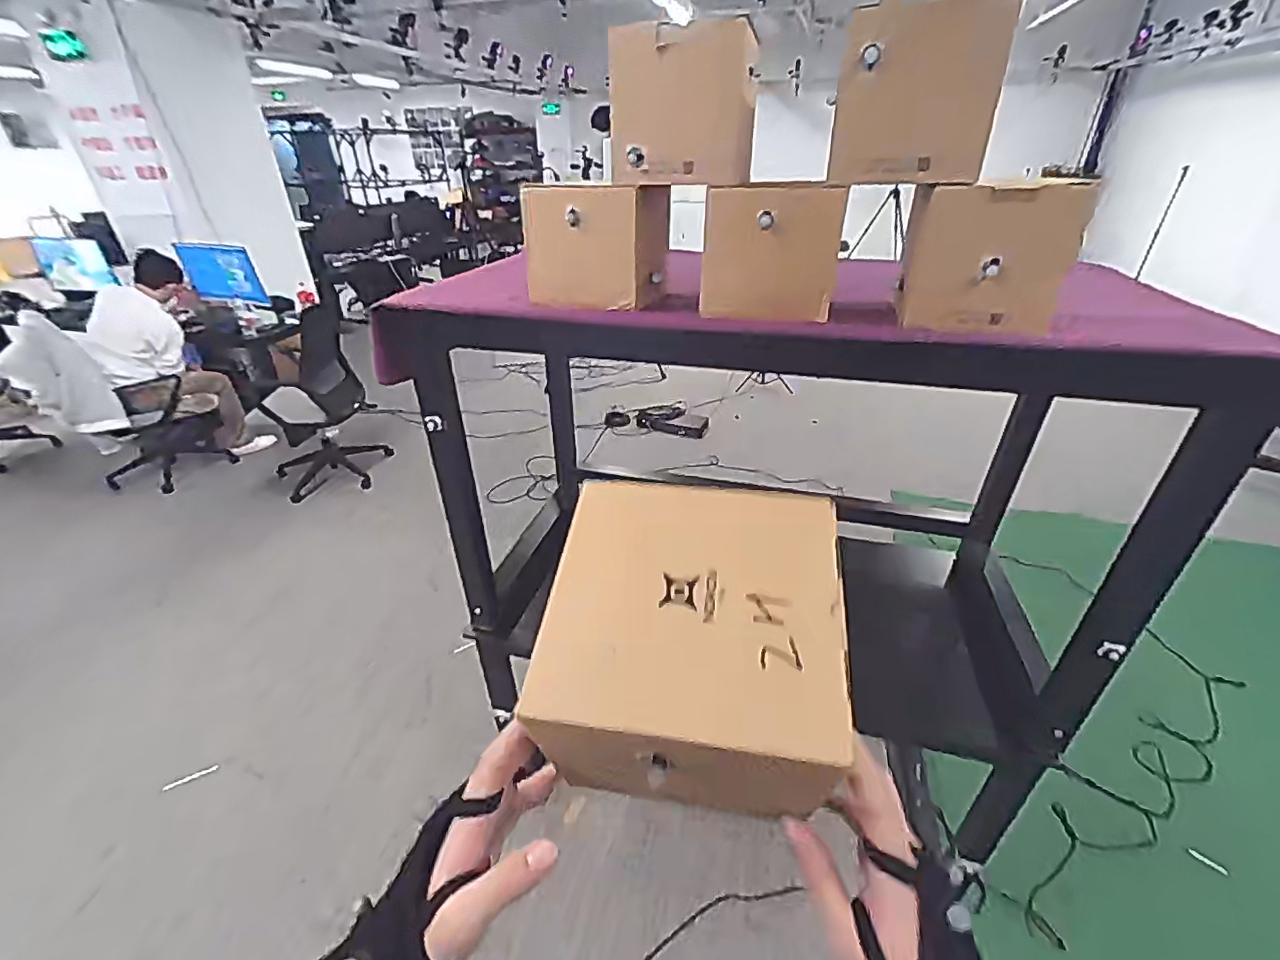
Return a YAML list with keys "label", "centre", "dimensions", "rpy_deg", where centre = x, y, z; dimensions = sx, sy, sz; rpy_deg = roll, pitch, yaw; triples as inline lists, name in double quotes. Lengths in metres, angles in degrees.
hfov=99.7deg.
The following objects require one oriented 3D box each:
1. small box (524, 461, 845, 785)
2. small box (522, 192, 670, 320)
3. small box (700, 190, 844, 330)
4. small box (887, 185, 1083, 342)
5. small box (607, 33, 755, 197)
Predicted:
- label: "small box"
  centre: [0.040, 0.106, 0.396]
  dimensions: [0.179, 0.176, 0.168]
  rpy_deg: [4, 50, 10]
- label: "small box"
  centre: [-0.061, -0.354, 0.848]
  dimensions: [0.179, 0.176, 0.168]
  rpy_deg: [10, 32, 17]
- label: "small box"
  centre: [0.187, -0.321, 0.785]
  dimensions: [0.179, 0.176, 0.168]
  rpy_deg: [6, 30, 13]
- label: "small box"
  centre: [0.438, -0.292, 0.723]
  dimensions: [0.168, 0.176, 0.179]
  rpy_deg: [9, 32, 16]
- label: "small box"
  centre: [0.062, -0.486, 0.746]
  dimensions: [0.168, 0.176, 0.179]
  rpy_deg: [8, 30, 14]
